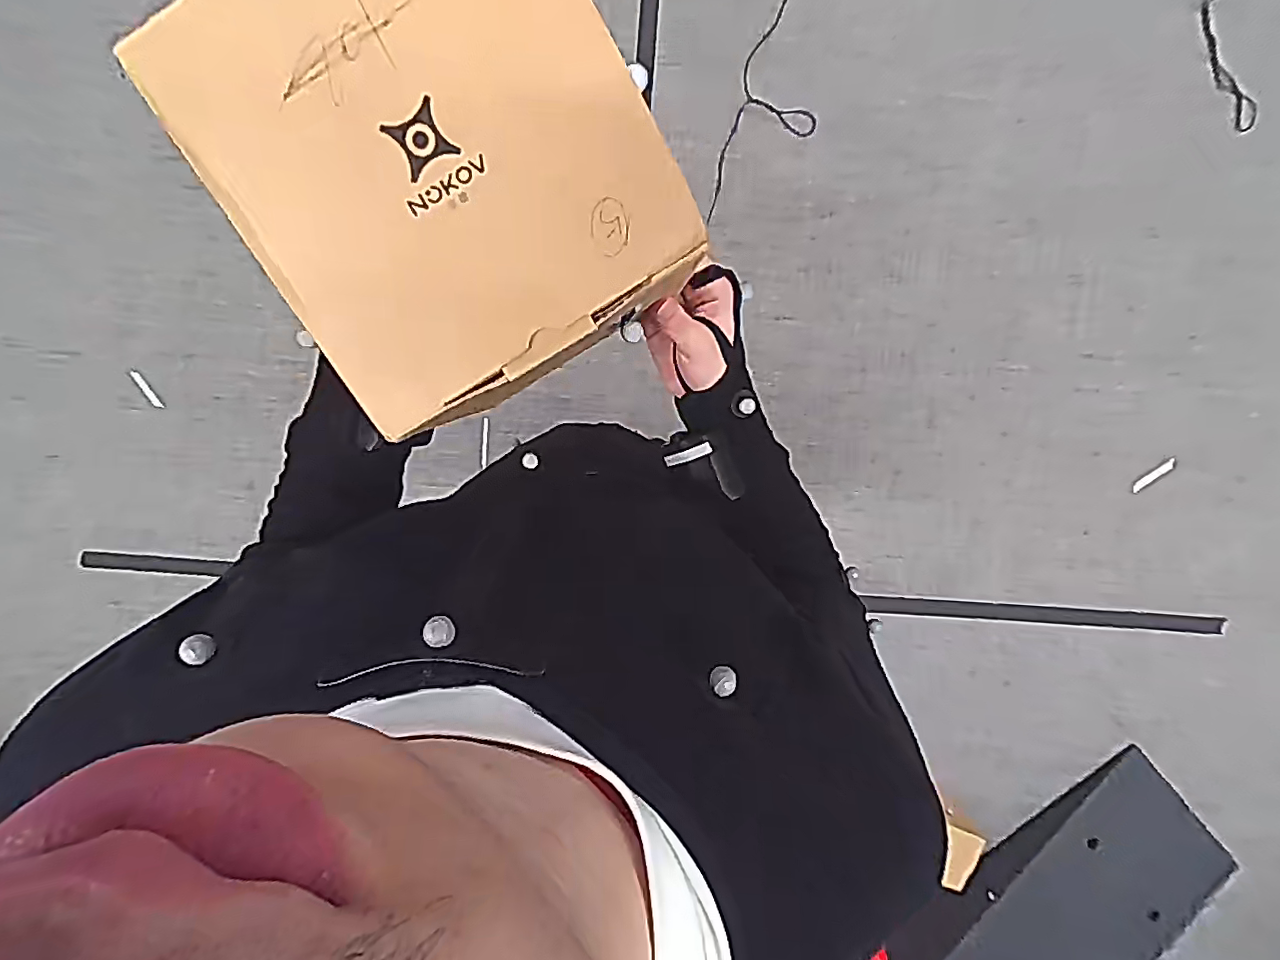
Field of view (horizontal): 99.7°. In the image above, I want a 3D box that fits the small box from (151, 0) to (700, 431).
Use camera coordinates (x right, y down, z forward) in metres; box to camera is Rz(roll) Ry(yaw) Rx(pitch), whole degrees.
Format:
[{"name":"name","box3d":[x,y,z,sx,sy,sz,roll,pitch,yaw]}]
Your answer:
[{"name":"small box","box3d":[-0.085,-0.150,0.303,0.168,0.176,0.179,-31,101,5]}]
